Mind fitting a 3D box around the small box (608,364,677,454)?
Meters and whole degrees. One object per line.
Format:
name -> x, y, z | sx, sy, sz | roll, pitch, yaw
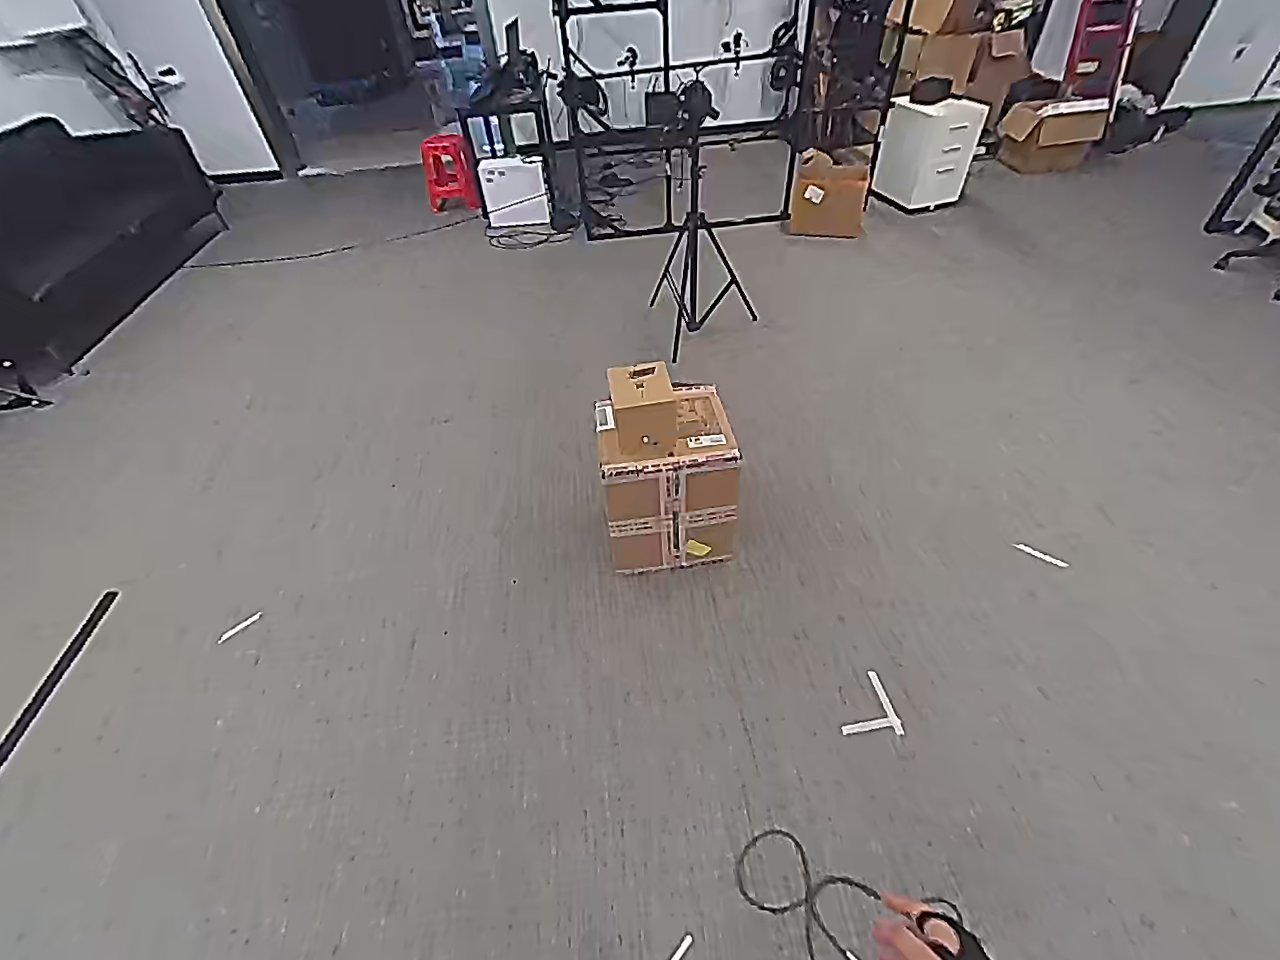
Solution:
small box -> 0.007, -0.197, 1.507 | 0.168, 0.176, 0.179 | -9, 49, -3
